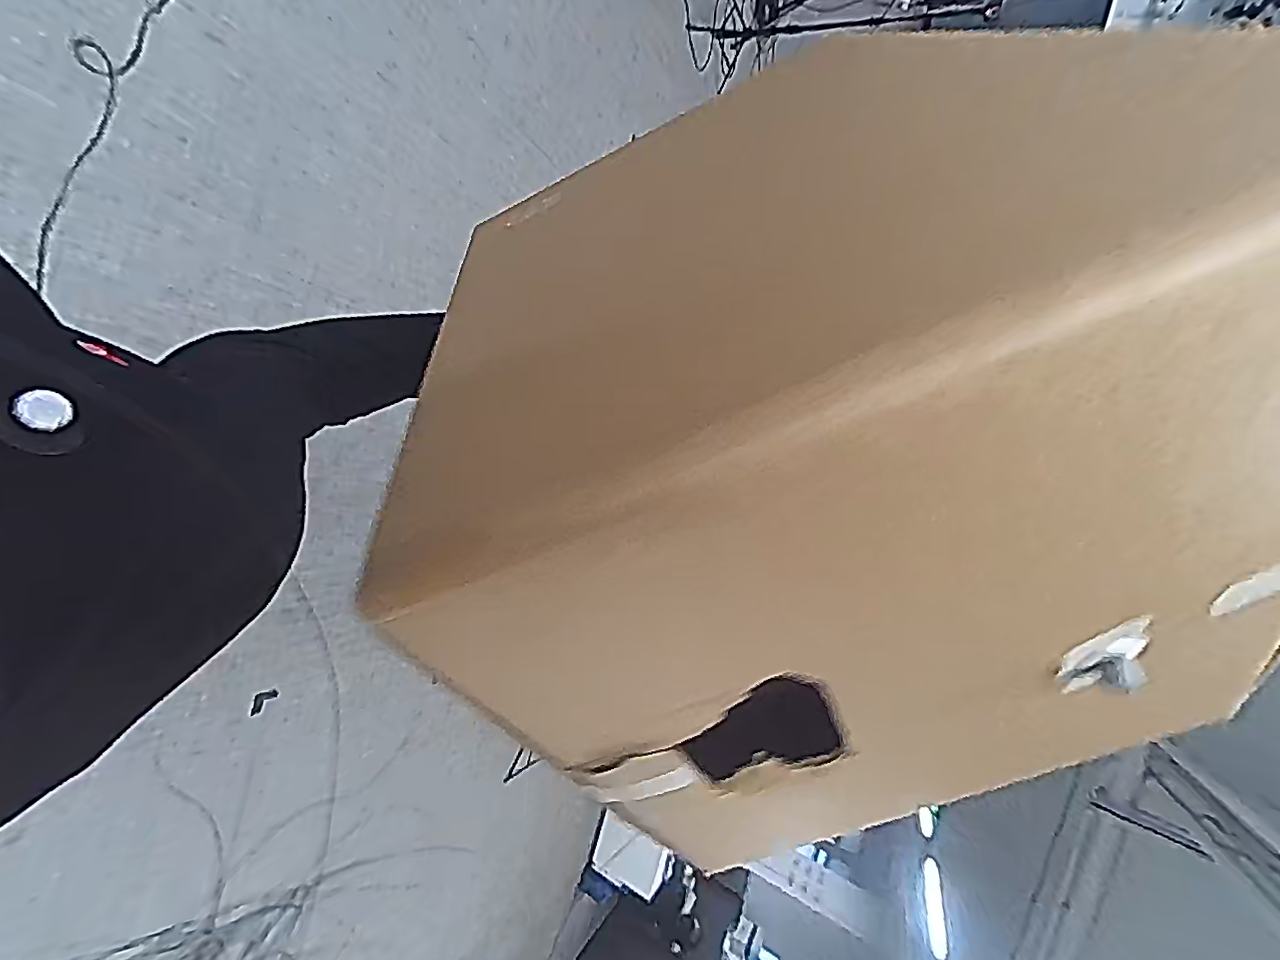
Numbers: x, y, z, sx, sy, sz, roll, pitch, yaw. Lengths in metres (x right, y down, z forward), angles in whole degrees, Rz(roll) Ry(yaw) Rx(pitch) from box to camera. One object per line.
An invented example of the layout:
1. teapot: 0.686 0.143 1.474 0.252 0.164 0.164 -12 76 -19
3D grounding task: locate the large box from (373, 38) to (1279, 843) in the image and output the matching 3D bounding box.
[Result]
1. large box: 0.089 -0.051 0.381 0.408 0.320 0.320 -103 168 -51
